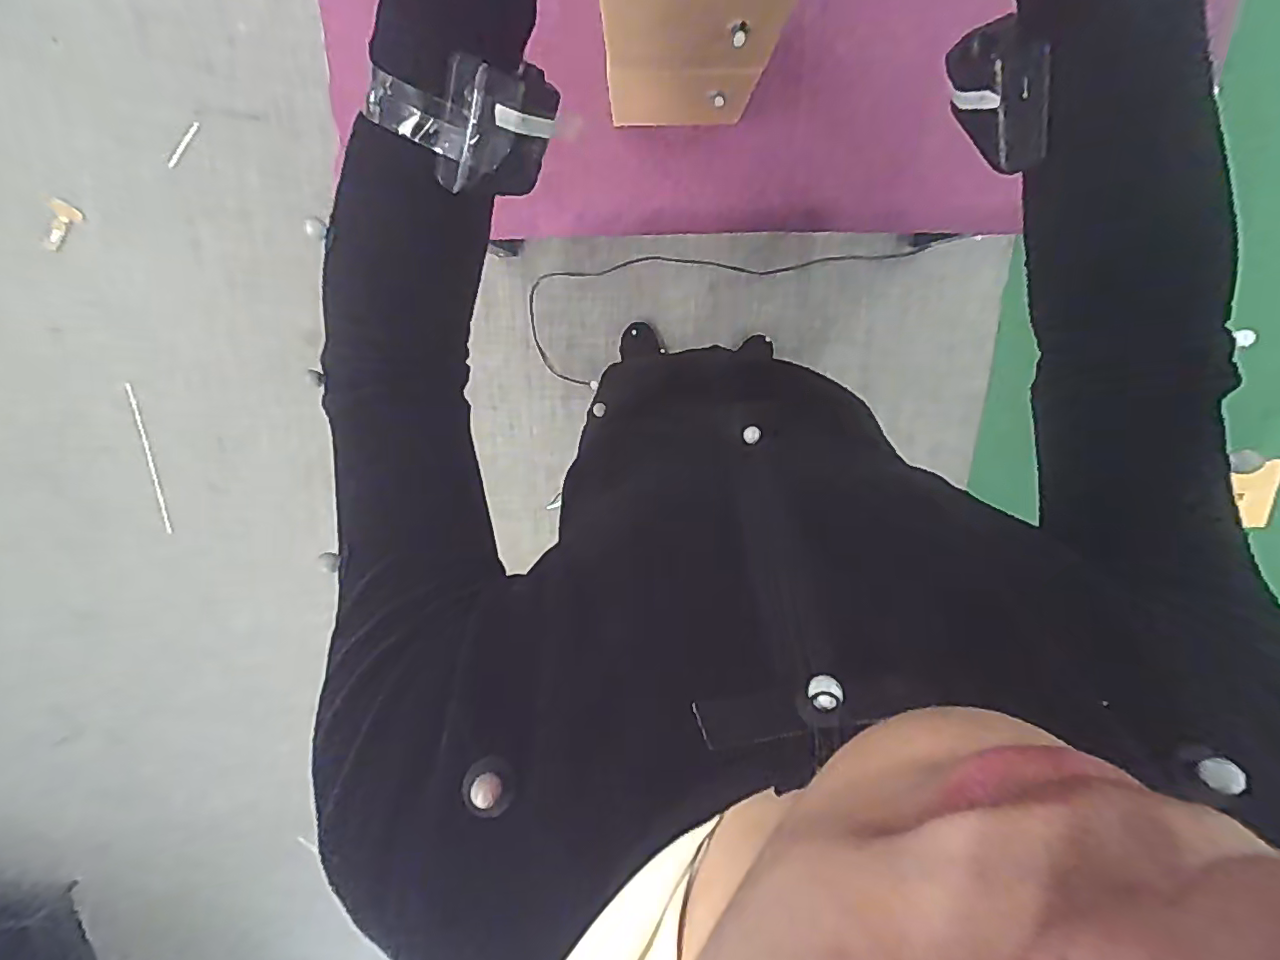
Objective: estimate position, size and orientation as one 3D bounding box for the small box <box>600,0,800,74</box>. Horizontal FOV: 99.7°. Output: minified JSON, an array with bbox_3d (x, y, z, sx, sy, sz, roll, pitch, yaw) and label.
[{"bbox_3d":[0.052,-0.506,0.498,0.179,0.176,0.168,0,105,1],"label":"small box"}]
